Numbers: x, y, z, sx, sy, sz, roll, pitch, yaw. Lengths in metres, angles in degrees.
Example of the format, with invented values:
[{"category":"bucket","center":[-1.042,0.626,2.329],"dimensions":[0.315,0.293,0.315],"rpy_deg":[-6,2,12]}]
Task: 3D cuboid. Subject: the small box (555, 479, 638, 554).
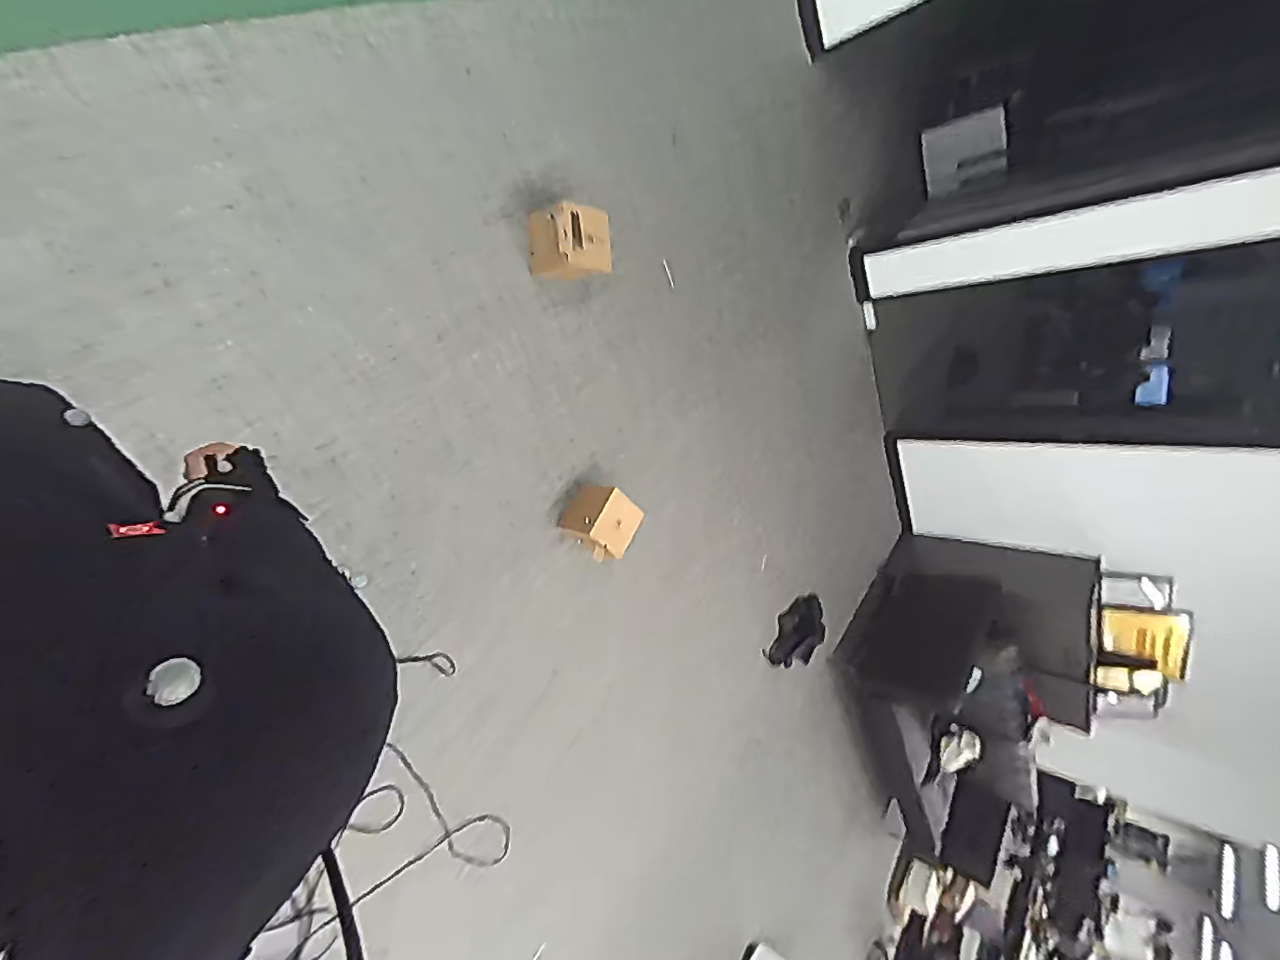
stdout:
[{"category":"small box","center":[-0.144,0.112,1.757],"dimensions":[0.168,0.176,0.179],"rpy_deg":[45,65,-39]}]
